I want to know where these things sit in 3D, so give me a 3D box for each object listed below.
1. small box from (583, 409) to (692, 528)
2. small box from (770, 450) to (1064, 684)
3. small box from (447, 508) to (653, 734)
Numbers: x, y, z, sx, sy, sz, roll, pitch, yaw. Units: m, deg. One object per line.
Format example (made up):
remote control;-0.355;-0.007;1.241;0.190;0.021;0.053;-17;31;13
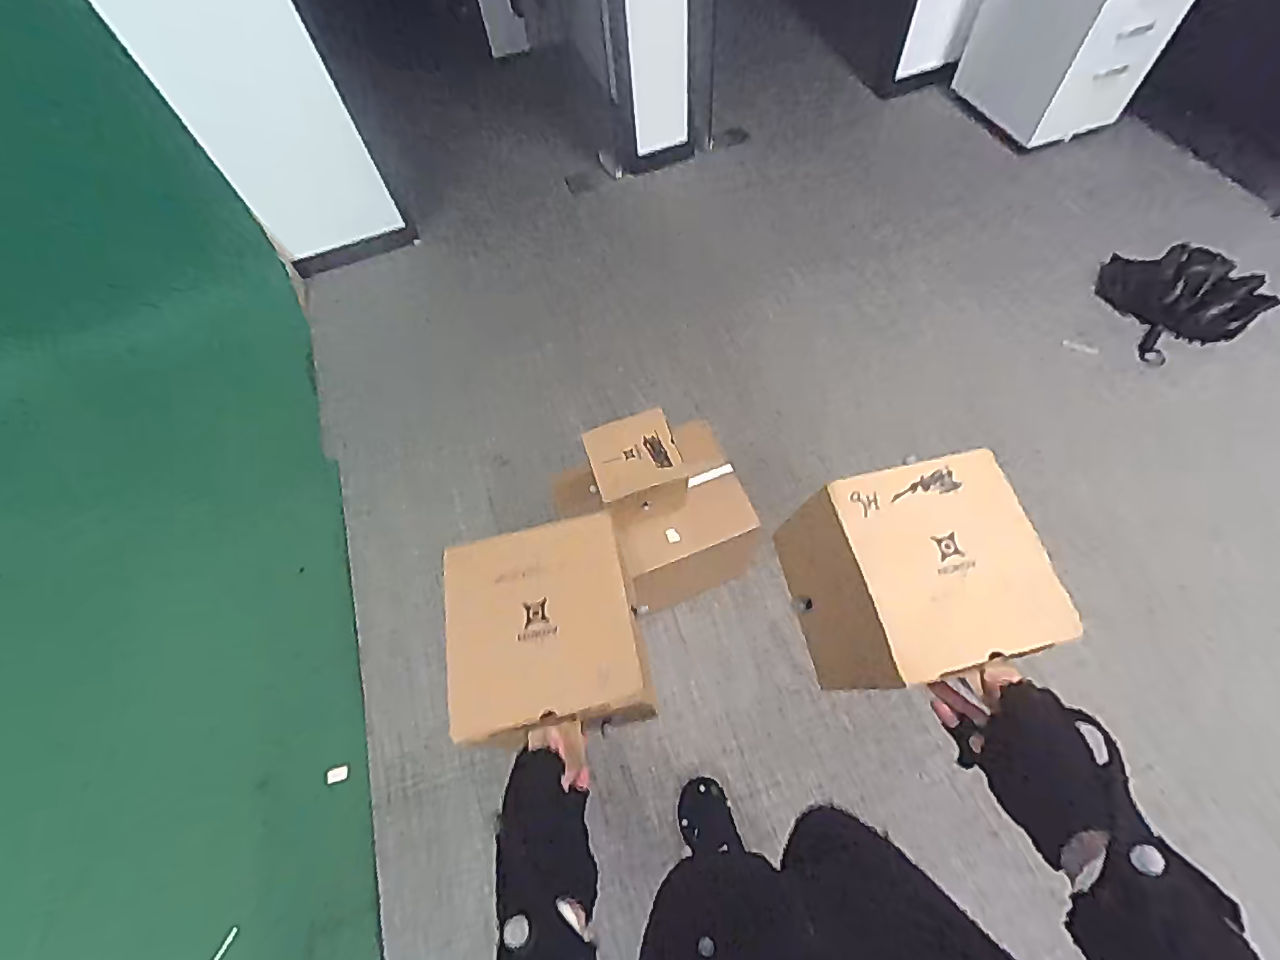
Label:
small box;-0.006;-0.019;1.145;0.179;0.176;0.168;-21;68;-7
small box;0.250;0.093;0.539;0.168;0.176;0.179;-11;71;-8
small box;-0.086;0.156;0.563;0.168;0.176;0.179;-13;61;-1
